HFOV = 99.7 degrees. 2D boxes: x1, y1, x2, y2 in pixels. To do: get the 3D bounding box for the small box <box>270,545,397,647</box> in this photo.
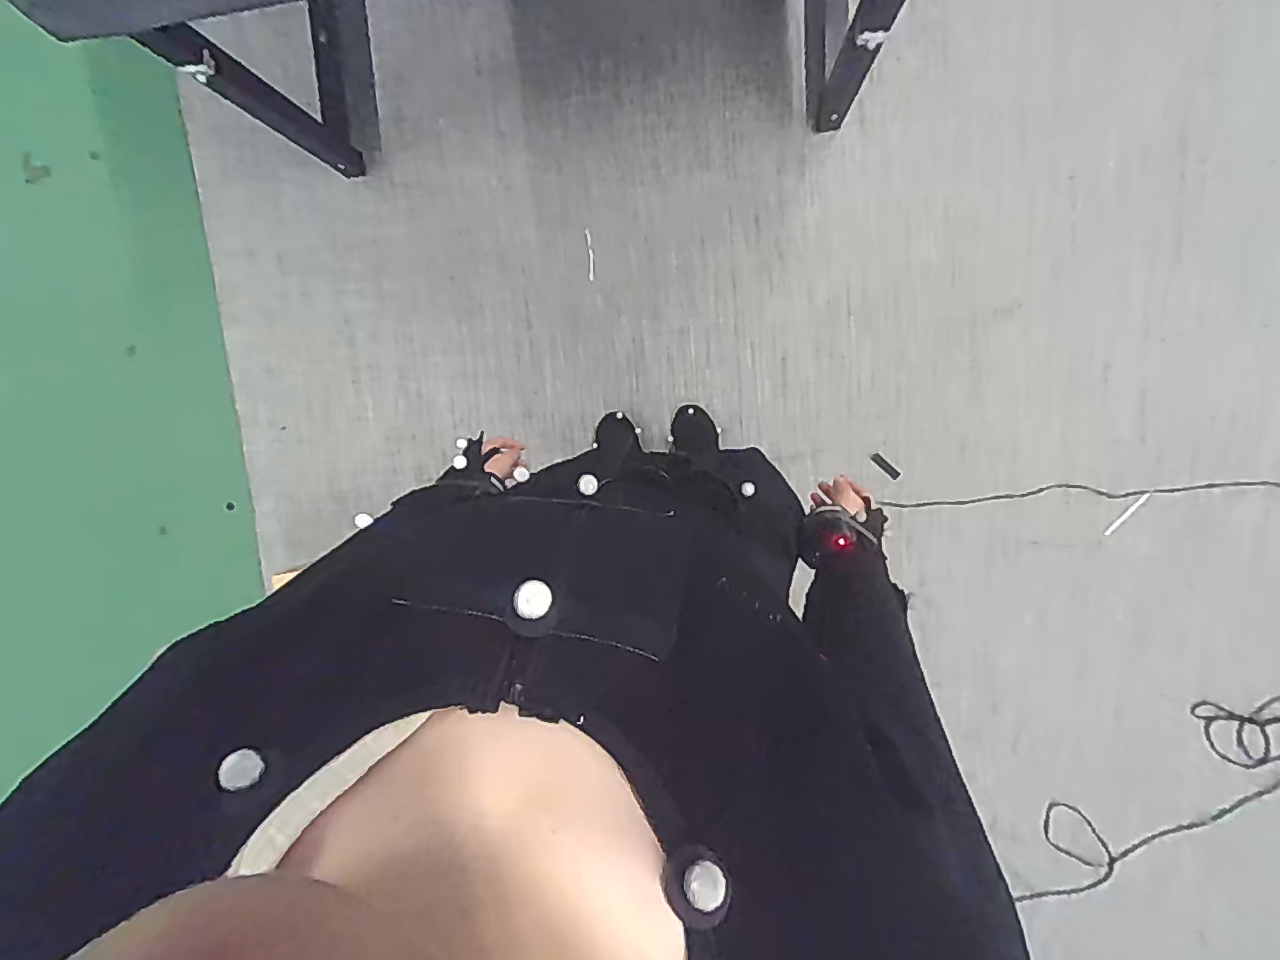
[{"bbox_3d":[-0.674,0.252,1.215,0.179,0.176,0.168,-11,95,6],"label":"small box"}]
